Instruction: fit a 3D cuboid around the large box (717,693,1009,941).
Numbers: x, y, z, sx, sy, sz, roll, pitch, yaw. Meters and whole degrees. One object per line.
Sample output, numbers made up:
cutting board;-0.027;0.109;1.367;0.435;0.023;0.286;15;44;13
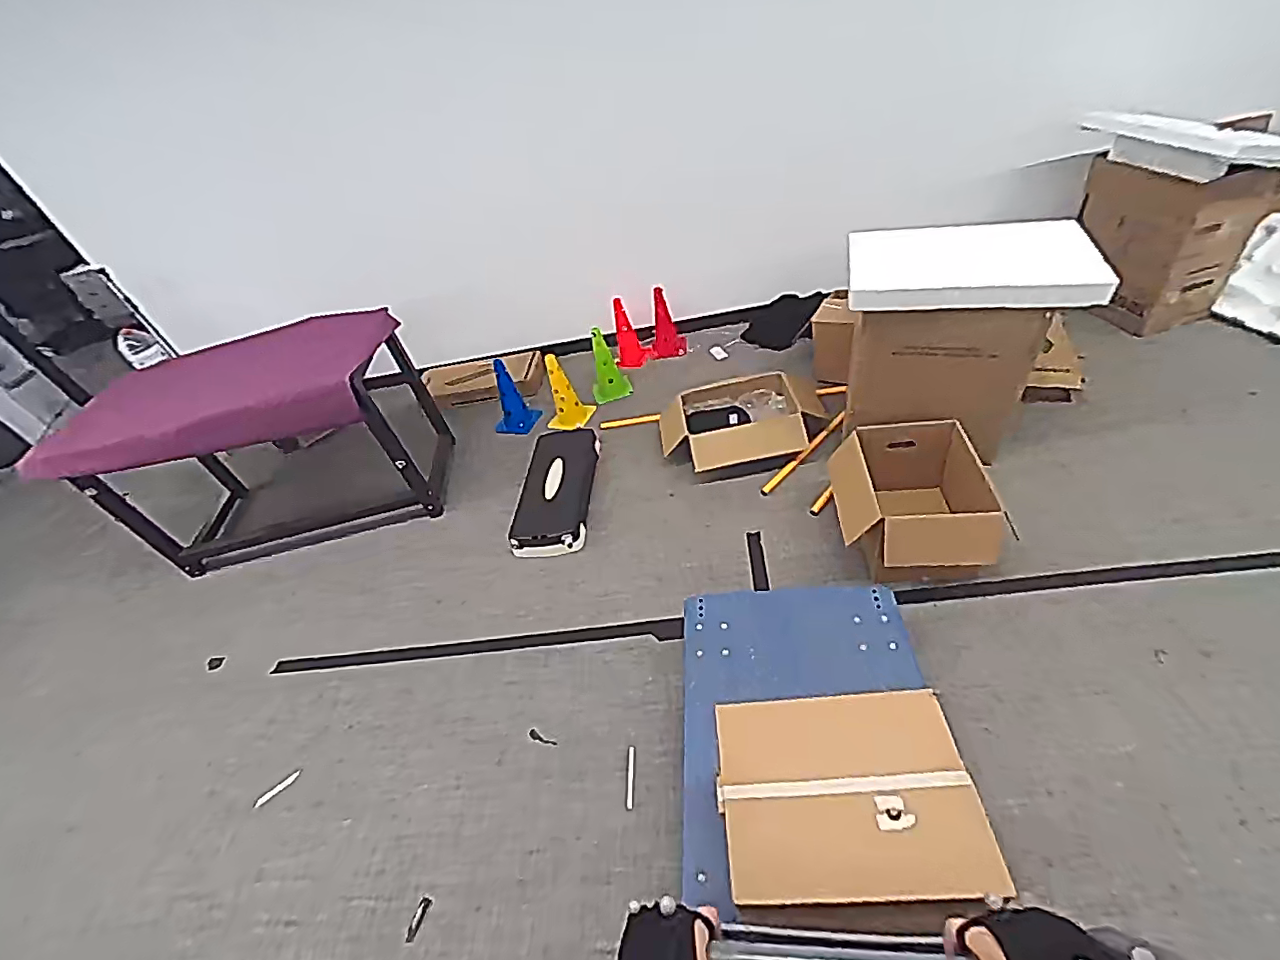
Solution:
large box;0.369;0.635;1.015;0.408;0.320;0.320;-7;42;7
